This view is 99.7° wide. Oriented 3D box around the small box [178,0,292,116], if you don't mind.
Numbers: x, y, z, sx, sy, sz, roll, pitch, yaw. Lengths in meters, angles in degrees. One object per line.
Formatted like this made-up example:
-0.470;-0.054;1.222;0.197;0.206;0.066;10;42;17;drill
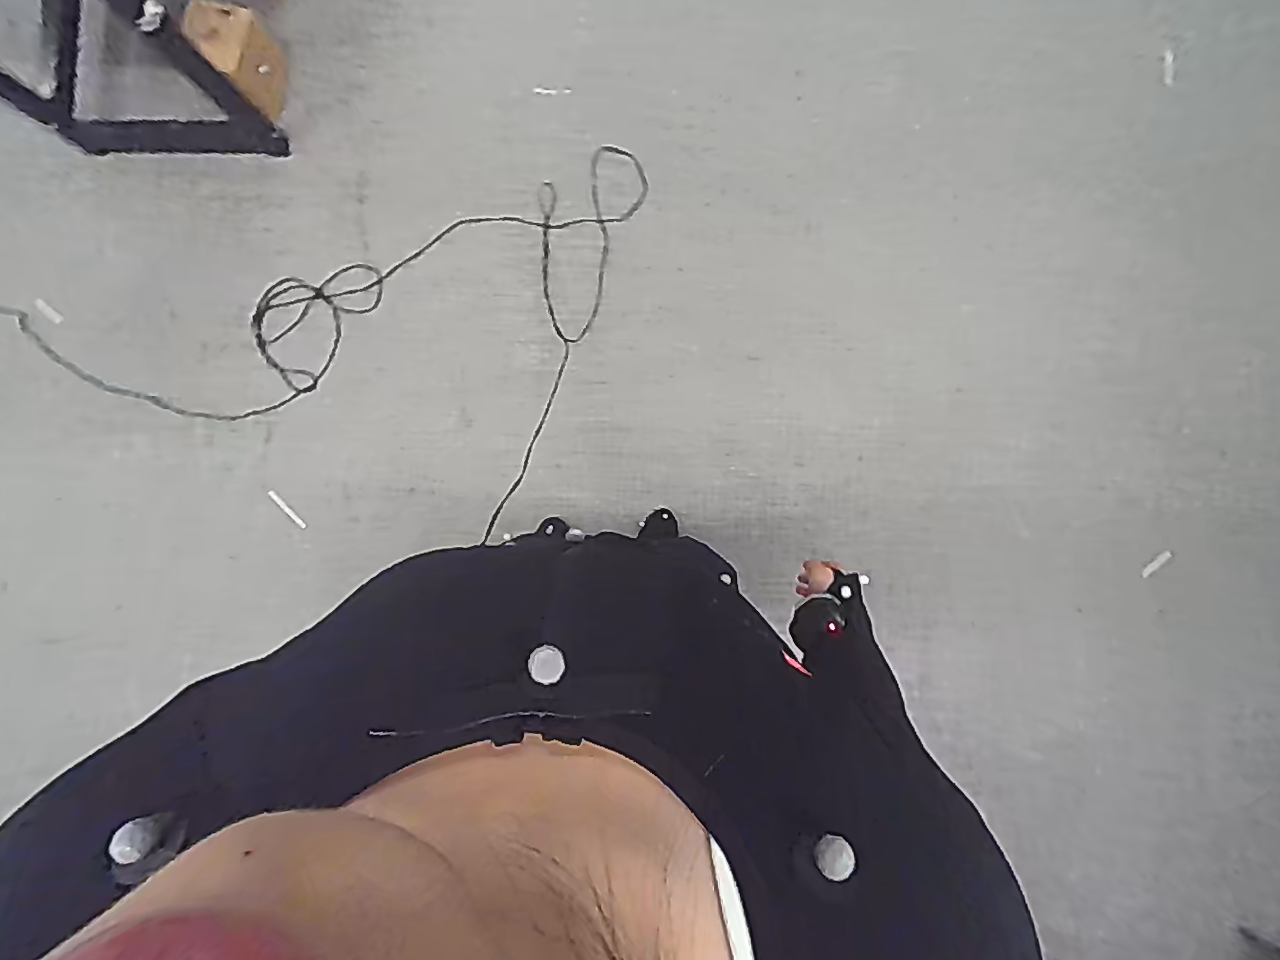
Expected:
-1.082;-1.133;1.460;0.168;0.176;0.179;14;89;0;small box
